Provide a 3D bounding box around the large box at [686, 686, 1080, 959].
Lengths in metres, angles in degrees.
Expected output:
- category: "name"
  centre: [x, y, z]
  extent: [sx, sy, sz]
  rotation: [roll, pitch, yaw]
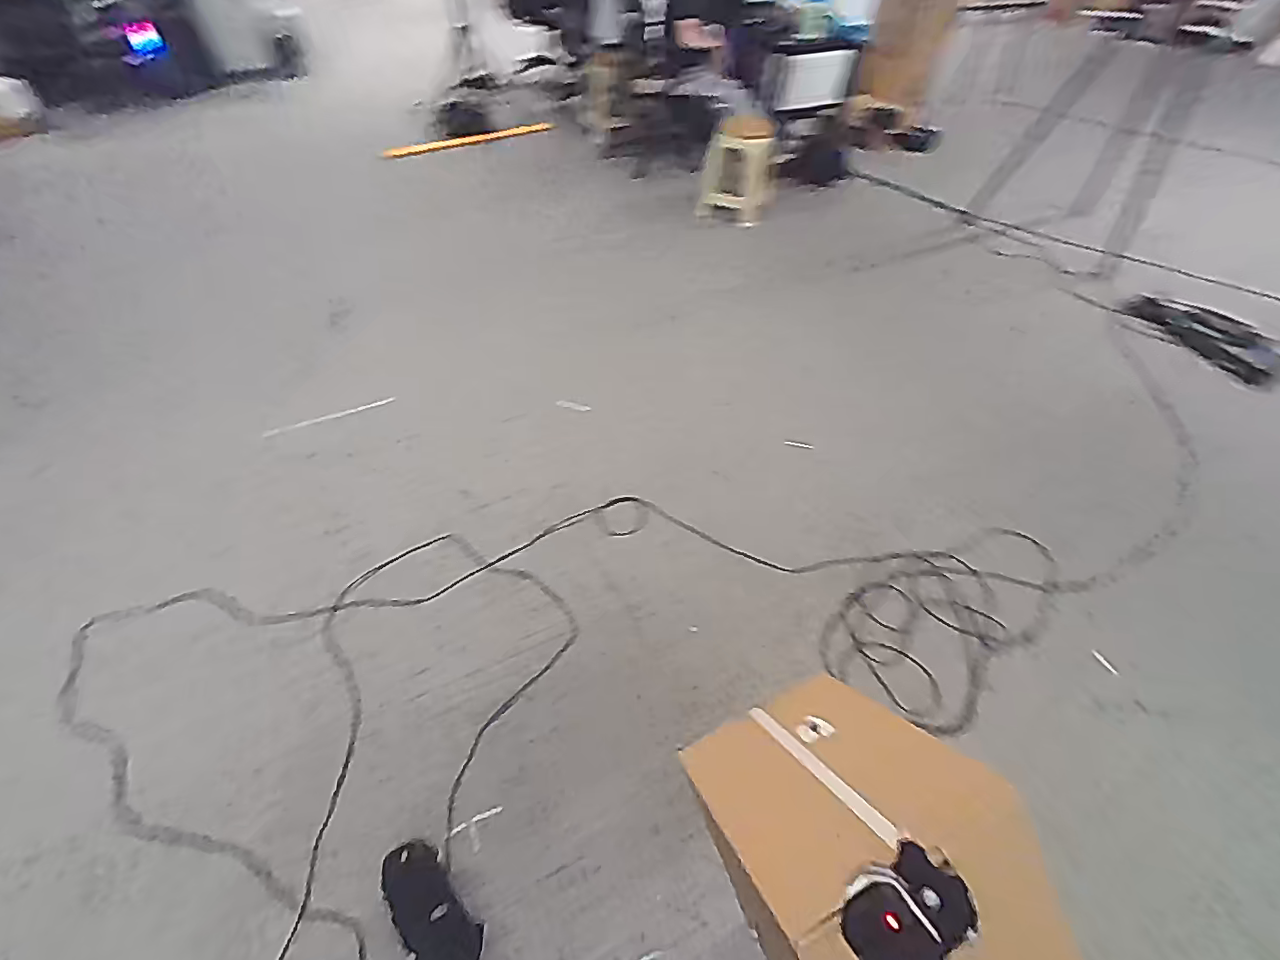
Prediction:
- category: "large box"
  centre: [0.317, 0.570, 0.790]
  extent: [0.320, 0.408, 0.320]
  rotation: [-22, 92, -12]
